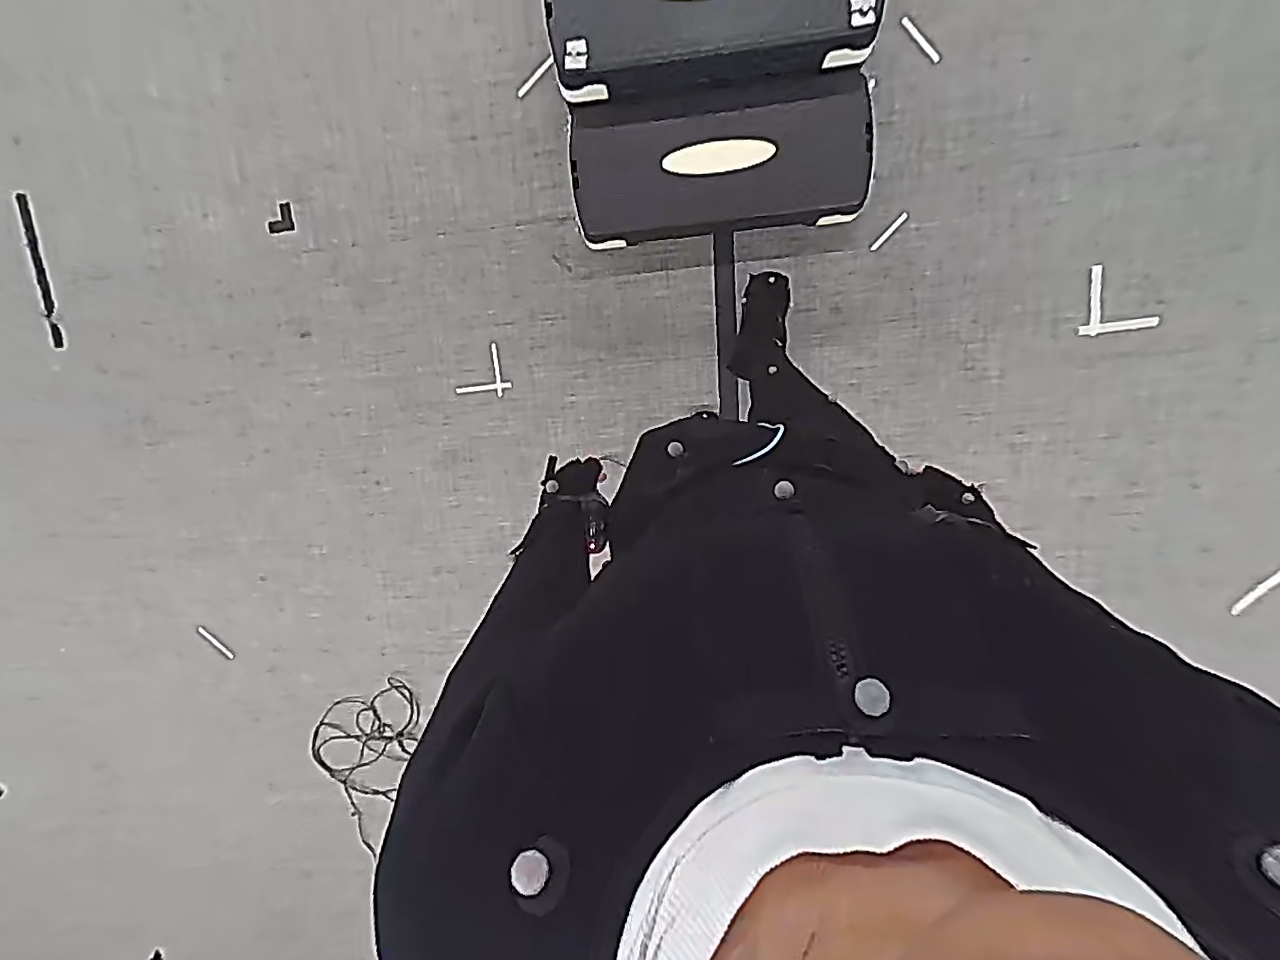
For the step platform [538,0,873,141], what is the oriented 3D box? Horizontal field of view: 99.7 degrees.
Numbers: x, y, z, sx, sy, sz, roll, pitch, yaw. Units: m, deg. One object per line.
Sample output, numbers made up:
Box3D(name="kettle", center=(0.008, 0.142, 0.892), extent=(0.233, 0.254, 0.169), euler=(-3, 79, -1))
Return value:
Box3D(name="step platform", center=(0.129, -0.957, 1.152), extent=(0.684, 0.204, 0.286), euler=(-5, 102, 5))
